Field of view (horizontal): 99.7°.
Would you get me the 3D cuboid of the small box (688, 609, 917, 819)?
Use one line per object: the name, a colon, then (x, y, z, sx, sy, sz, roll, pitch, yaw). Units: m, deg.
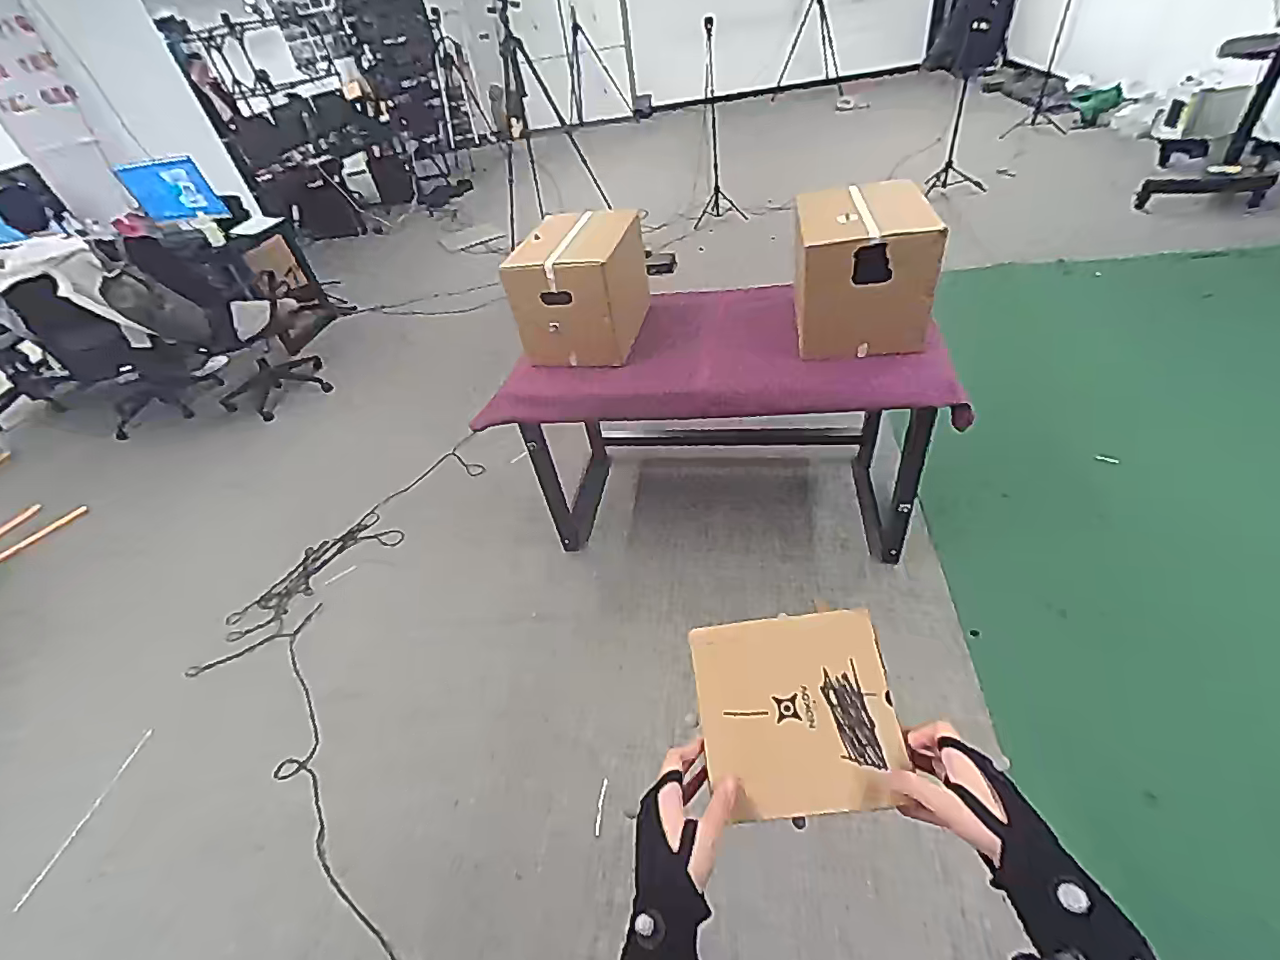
small box: (0.145, 0.240, 0.555, 0.179, 0.176, 0.168, -8, 61, 4)

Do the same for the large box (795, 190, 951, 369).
large box: (0.601, -0.551, 1.481, 0.320, 0.320, 0.408, -2, 43, 14)
